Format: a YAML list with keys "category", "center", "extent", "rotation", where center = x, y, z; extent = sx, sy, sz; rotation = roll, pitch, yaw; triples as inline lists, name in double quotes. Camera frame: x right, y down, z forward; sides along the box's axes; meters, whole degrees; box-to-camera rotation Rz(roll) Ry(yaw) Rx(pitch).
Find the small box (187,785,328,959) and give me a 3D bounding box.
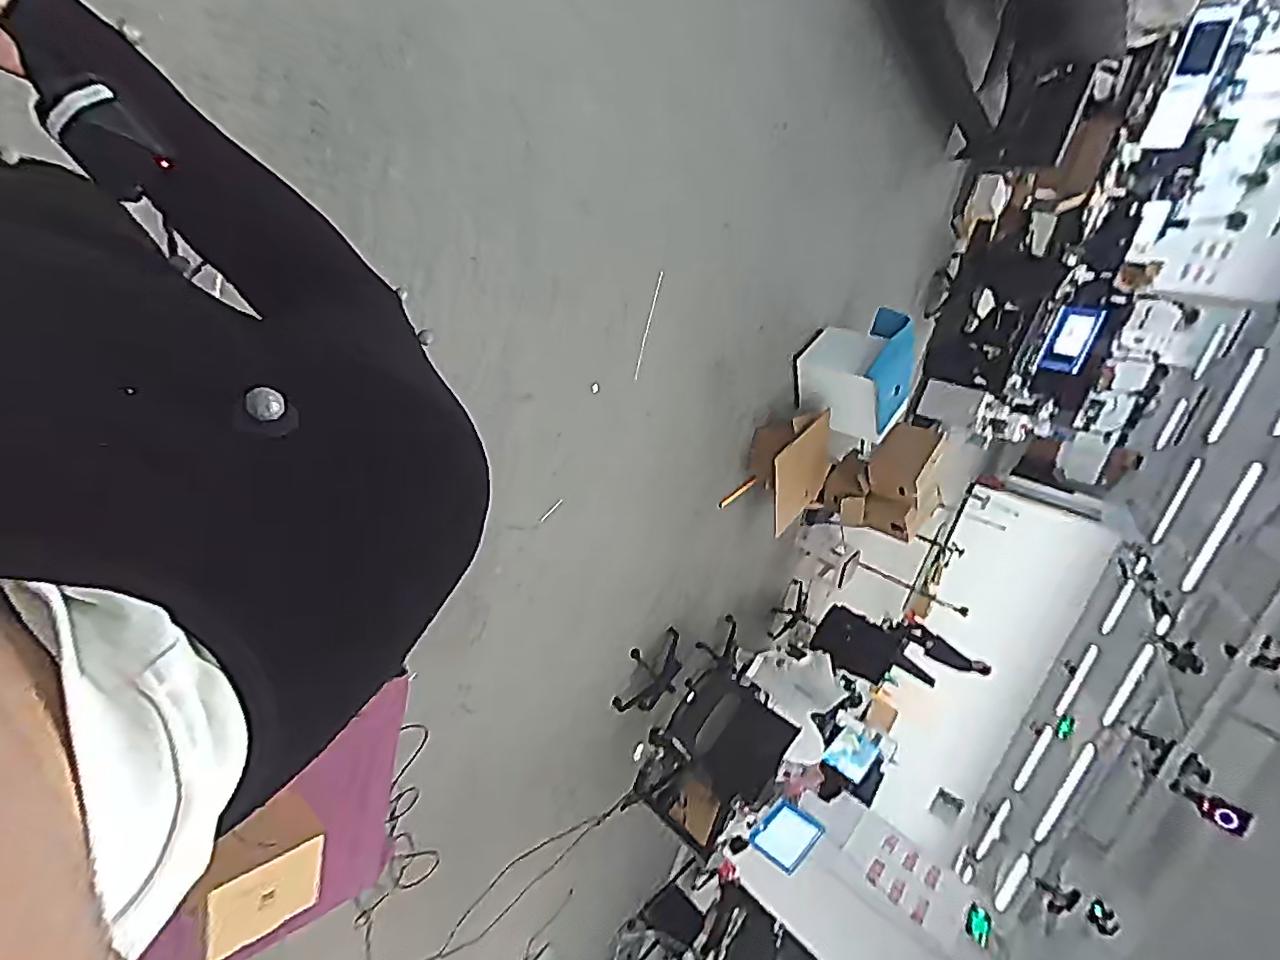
- category: "small box"
  center: [-0.684, 0.697, 0.965]
  extent: [0.168, 0.176, 0.179]
  rotation: [-6, 115, -50]
